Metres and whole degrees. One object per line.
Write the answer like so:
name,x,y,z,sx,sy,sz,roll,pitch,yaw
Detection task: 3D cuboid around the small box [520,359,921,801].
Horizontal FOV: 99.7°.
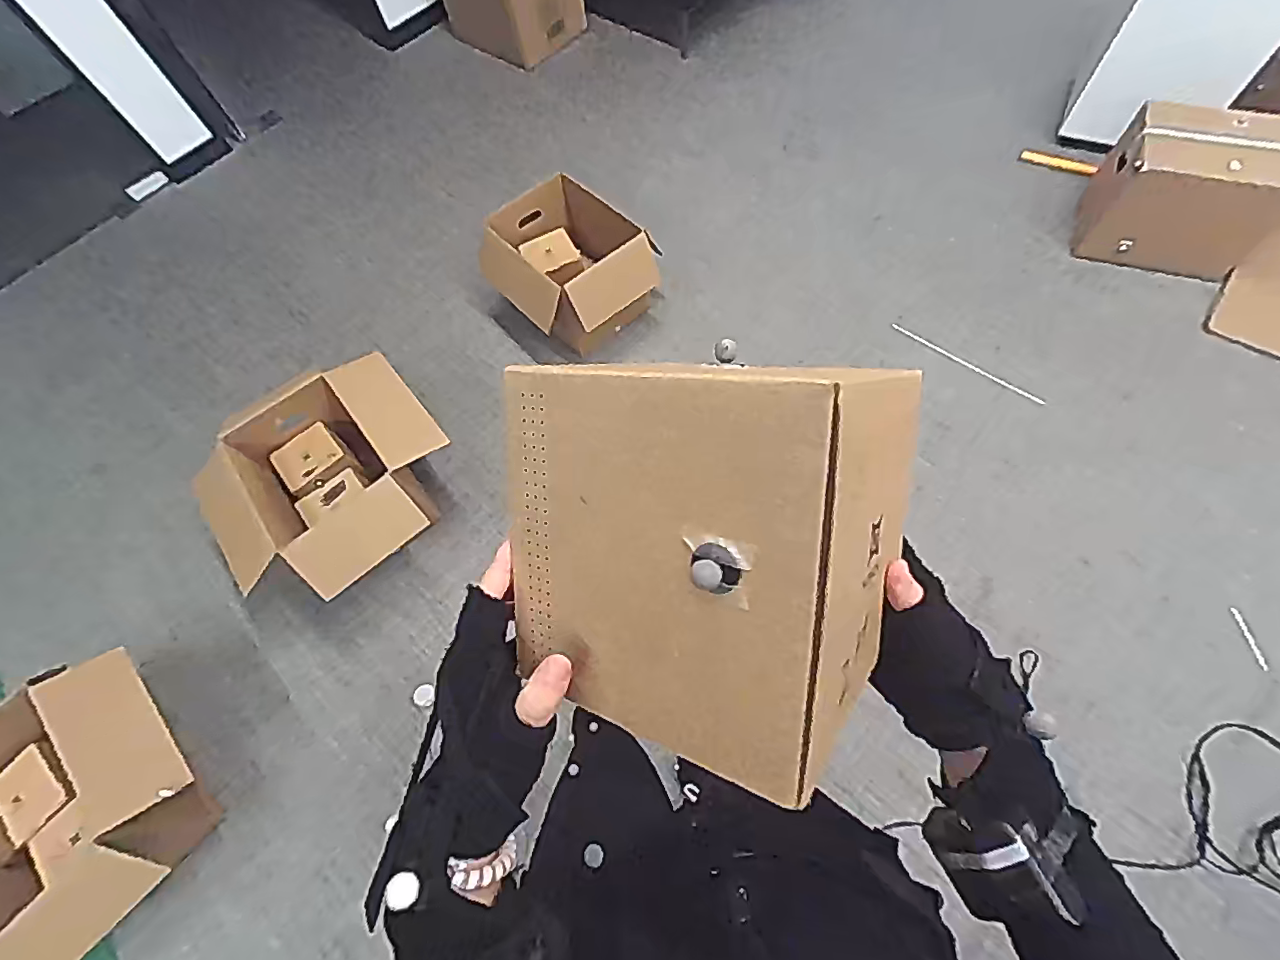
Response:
small box,0.047,0.024,0.306,0.176,0.168,0.179,9,104,34
